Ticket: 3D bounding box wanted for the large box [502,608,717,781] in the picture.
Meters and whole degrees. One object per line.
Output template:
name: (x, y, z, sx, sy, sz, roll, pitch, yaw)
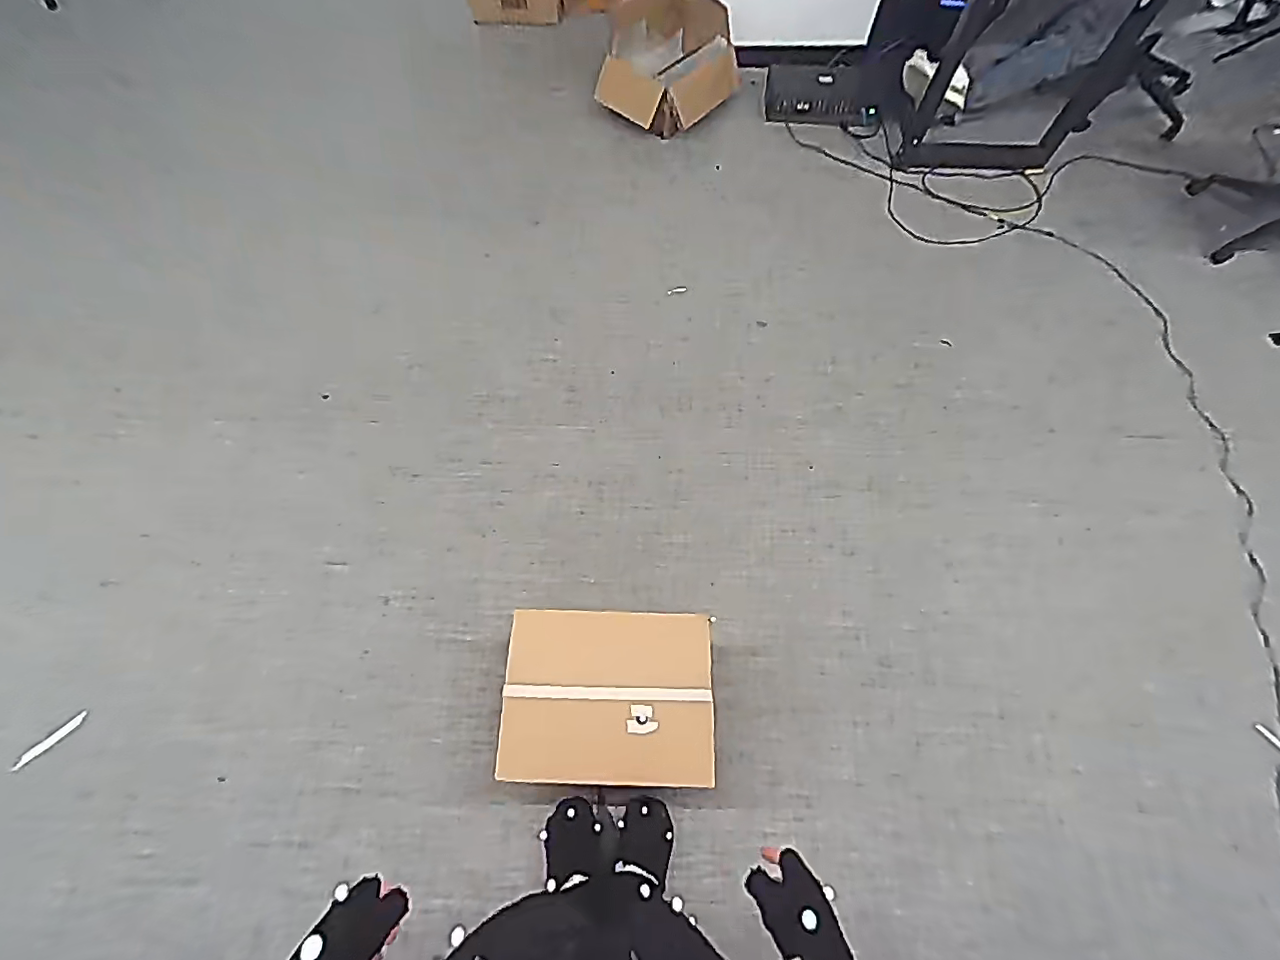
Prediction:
large box: (-0.060, 0.470, 1.184, 0.408, 0.320, 0.320, 2, 66, -1)
